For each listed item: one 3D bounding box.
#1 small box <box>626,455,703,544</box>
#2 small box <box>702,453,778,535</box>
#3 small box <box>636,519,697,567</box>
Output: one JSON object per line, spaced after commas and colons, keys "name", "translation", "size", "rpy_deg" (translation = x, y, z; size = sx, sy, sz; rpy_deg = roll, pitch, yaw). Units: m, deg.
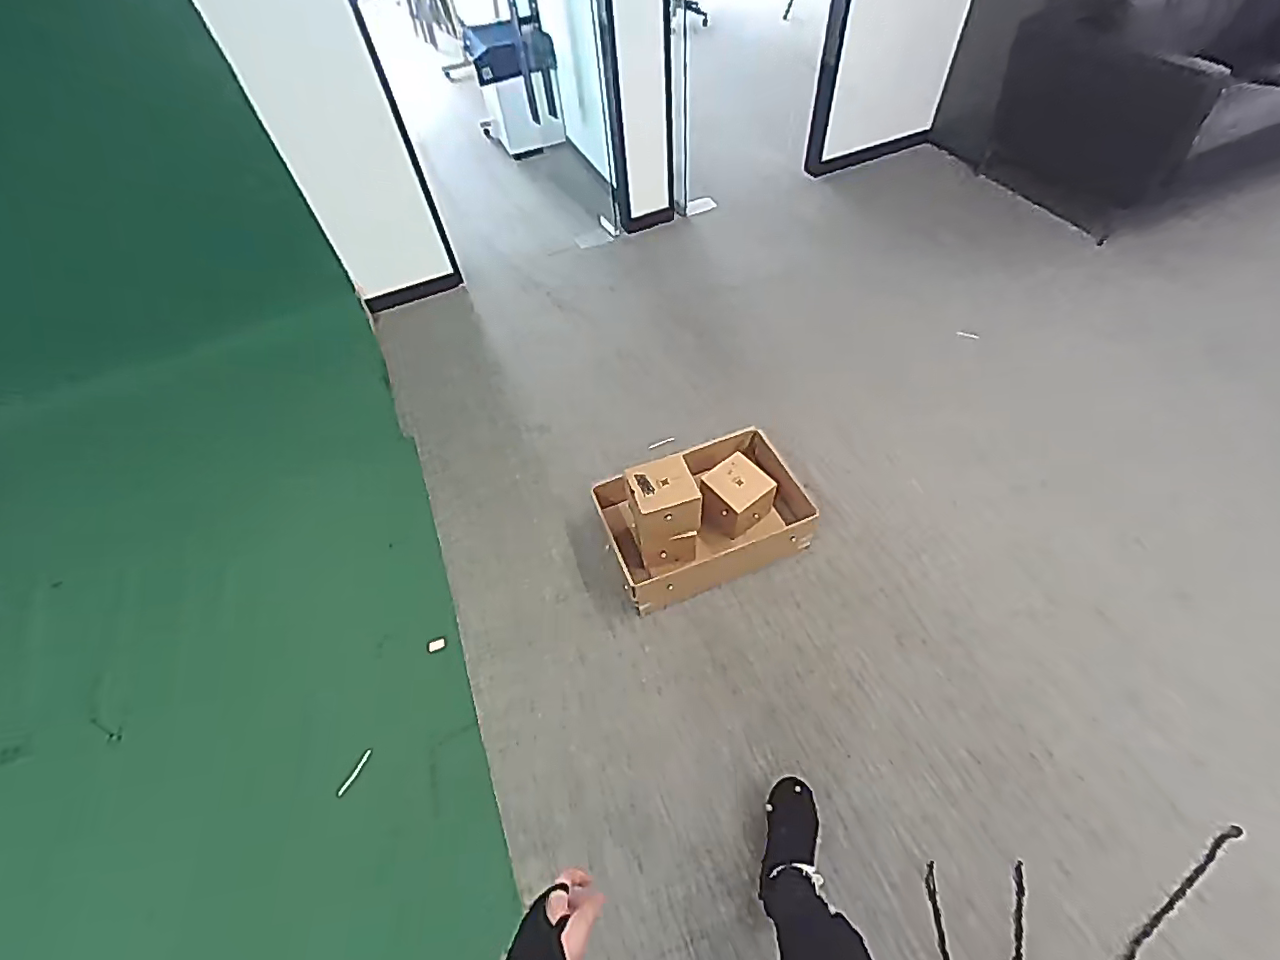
{"name": "small box", "translation": [0.070, 0.060, 1.548], "size": [0.179, 0.176, 0.168], "rpy_deg": [-16, 53, -9]}
{"name": "small box", "translation": [0.316, 0.054, 1.733], "size": [0.168, 0.176, 0.179], "rpy_deg": [-33, 58, -18]}
{"name": "small box", "translation": [0.080, 0.157, 1.680], "size": [0.168, 0.176, 0.179], "rpy_deg": [-11, 52, -4]}
